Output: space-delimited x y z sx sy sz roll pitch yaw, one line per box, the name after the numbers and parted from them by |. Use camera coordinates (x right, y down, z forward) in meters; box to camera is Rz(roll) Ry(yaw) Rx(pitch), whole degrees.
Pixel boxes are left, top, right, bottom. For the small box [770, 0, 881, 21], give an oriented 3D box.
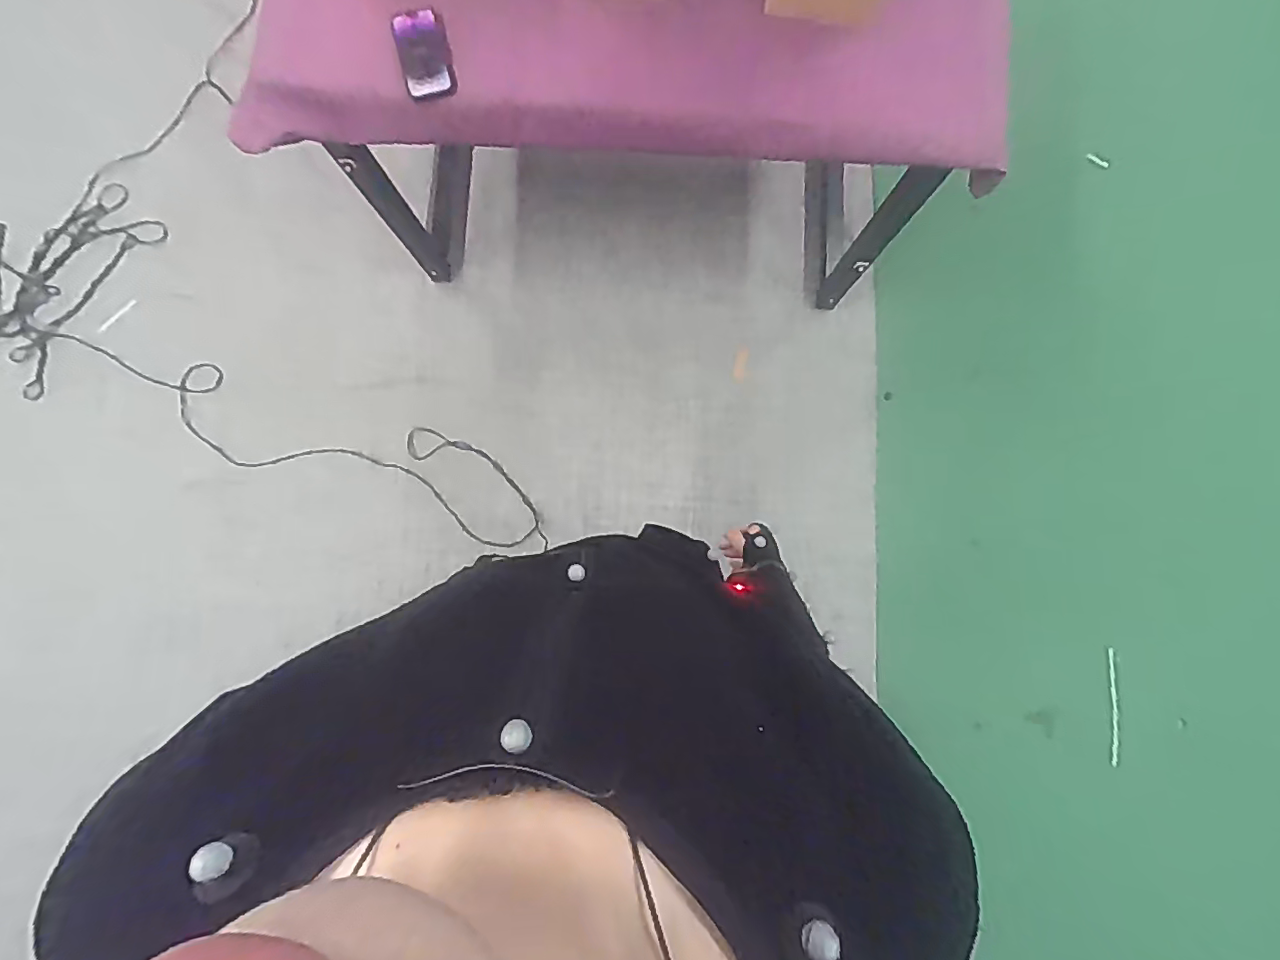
0.308 -0.835 0.800 0.179 0.176 0.168 11 84 1 | small box
